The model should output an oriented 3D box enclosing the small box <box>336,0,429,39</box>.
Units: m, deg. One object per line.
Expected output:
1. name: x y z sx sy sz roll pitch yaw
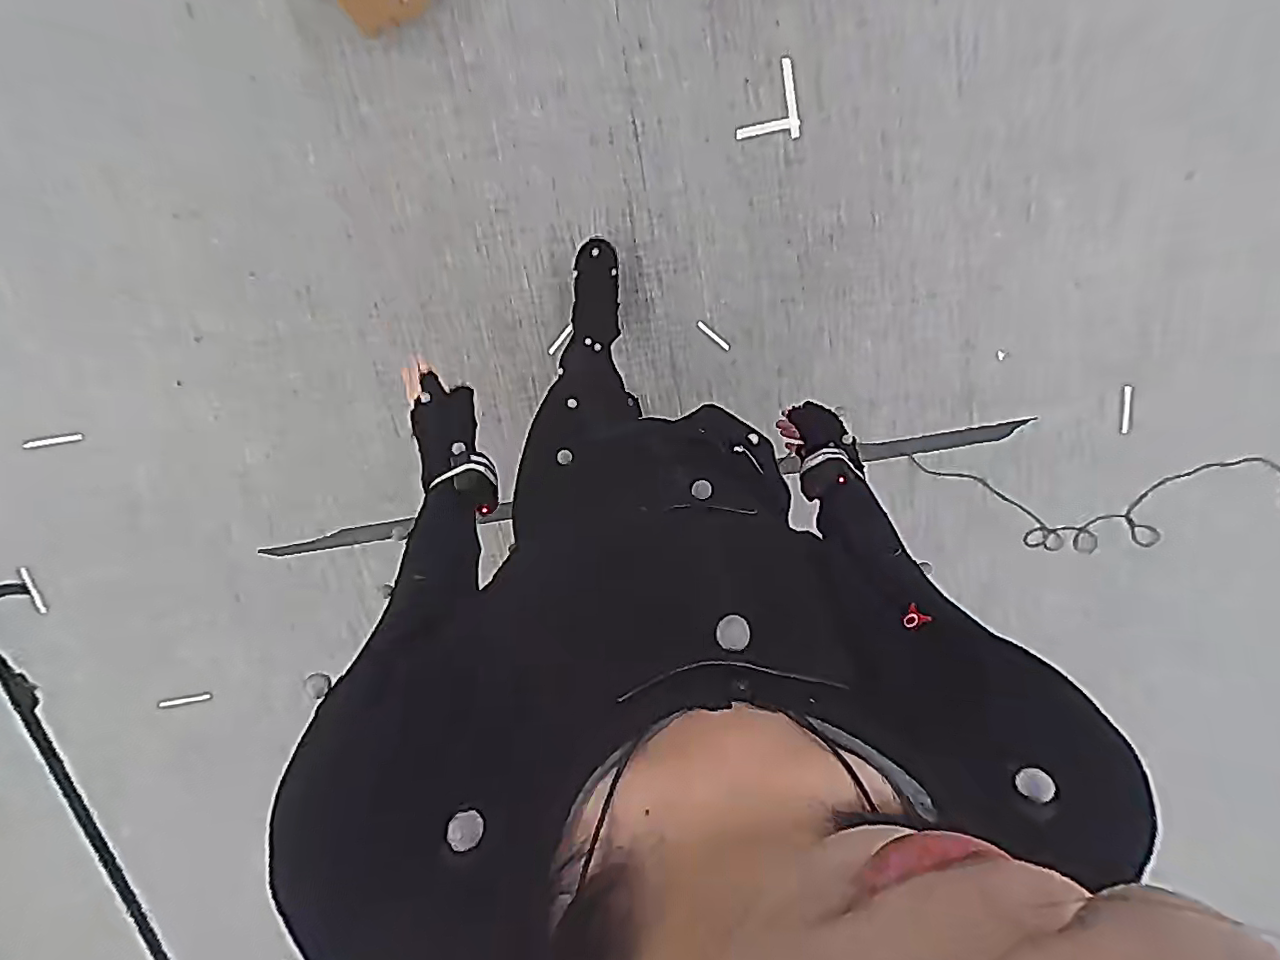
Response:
1. small box: -0.569 -1.090 1.139 0.179 0.176 0.168 -21 102 3
